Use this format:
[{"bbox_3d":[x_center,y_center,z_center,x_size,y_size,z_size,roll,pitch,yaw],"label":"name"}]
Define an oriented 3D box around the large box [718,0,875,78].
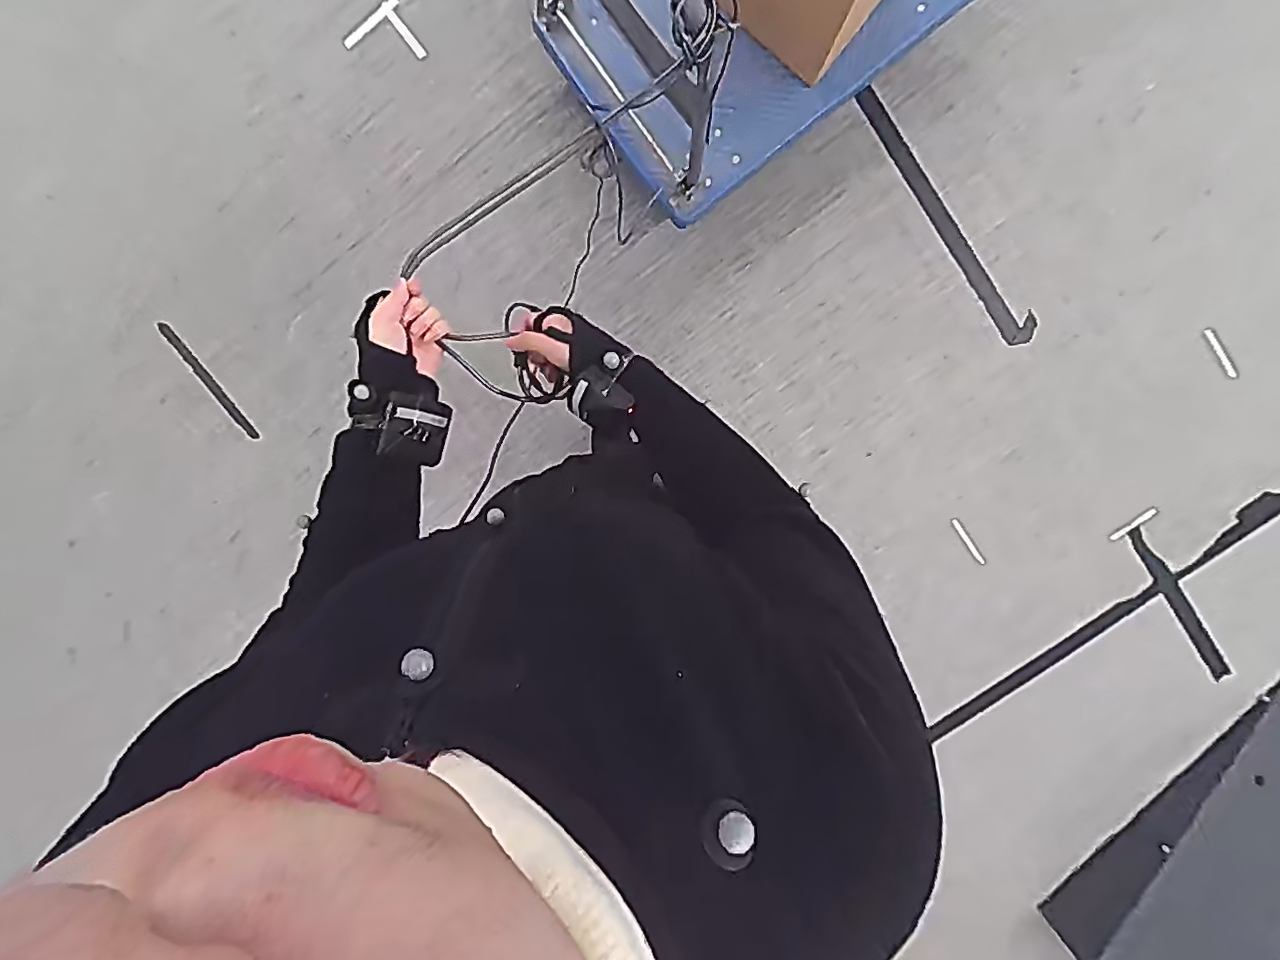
[{"bbox_3d":[0.316,-1.098,1.017,0.408,0.320,0.320,38,97,-4],"label":"large box"}]
